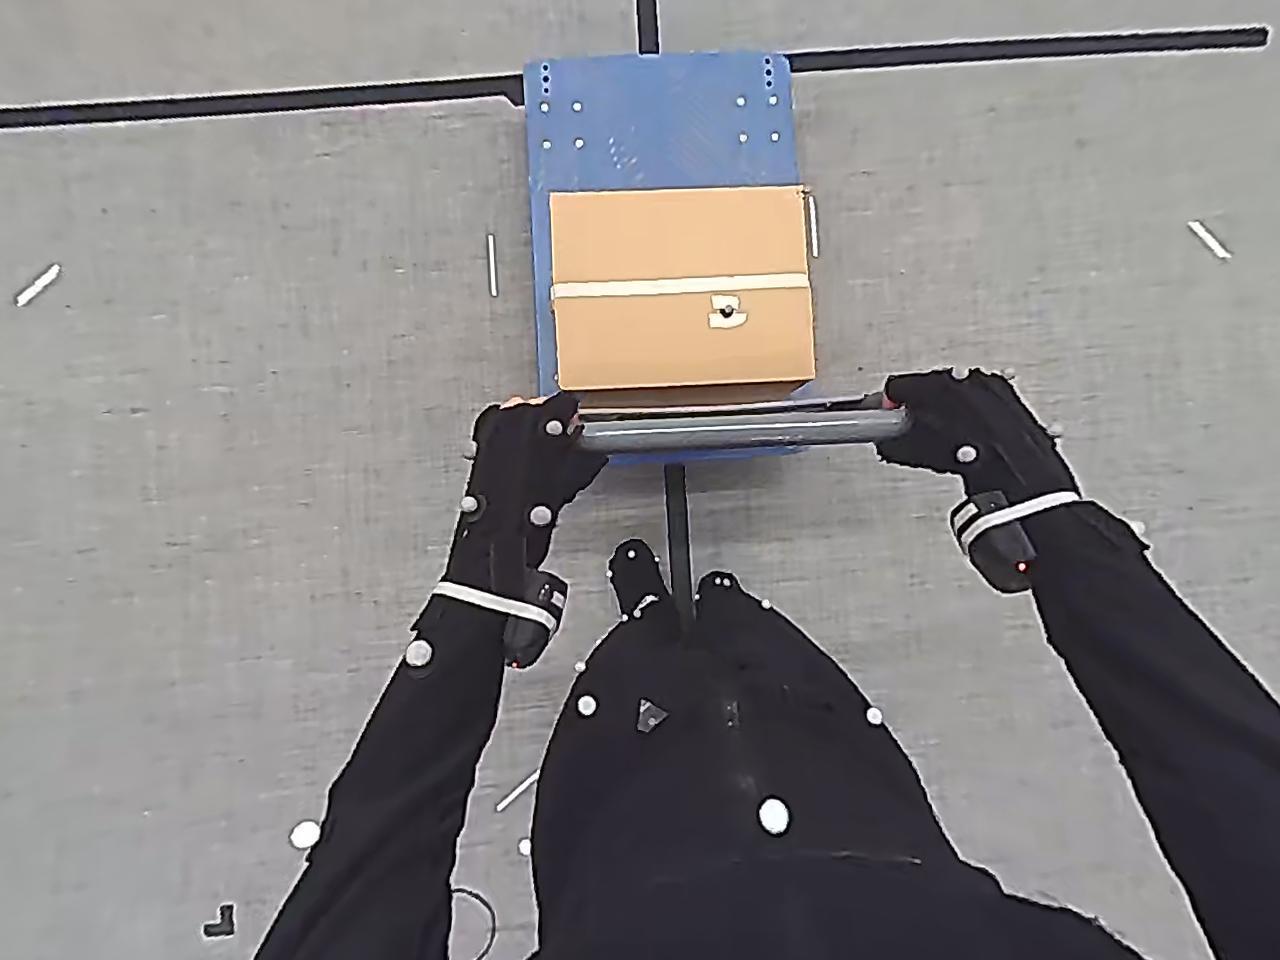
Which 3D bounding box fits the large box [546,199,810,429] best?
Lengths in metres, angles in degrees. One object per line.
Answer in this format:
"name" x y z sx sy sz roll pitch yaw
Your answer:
"large box" 0.053 -0.277 0.992 0.408 0.320 0.320 -3 88 -3
